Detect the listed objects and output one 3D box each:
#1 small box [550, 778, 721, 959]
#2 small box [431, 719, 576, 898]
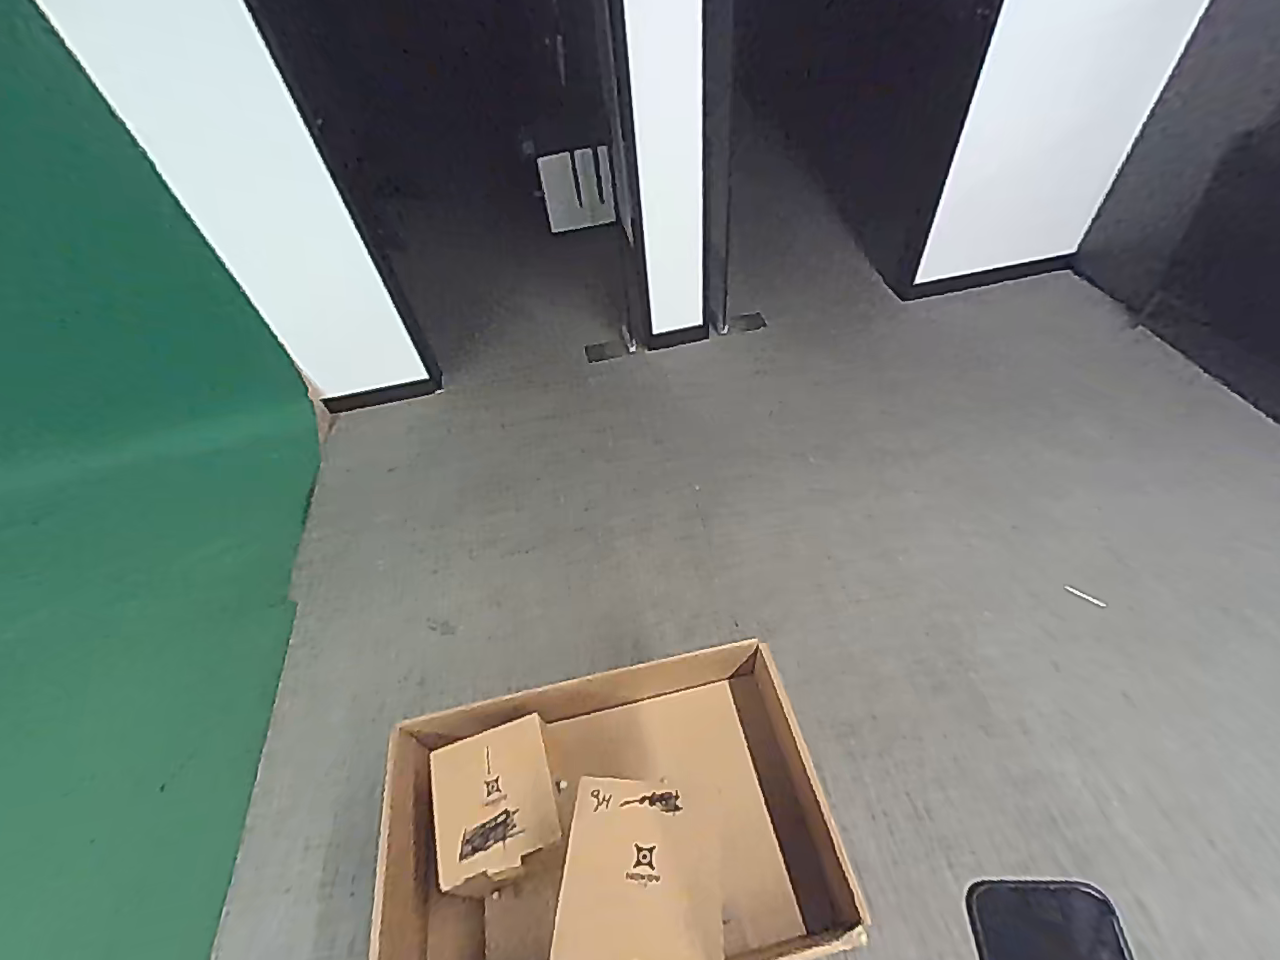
[{"bbox_3d":[0.008,0.472,0.614,0.168,0.176,0.179,1,36,6],"label":"small box"},{"bbox_3d":[-0.195,0.495,0.810,0.168,0.176,0.179,-18,49,-8],"label":"small box"}]
